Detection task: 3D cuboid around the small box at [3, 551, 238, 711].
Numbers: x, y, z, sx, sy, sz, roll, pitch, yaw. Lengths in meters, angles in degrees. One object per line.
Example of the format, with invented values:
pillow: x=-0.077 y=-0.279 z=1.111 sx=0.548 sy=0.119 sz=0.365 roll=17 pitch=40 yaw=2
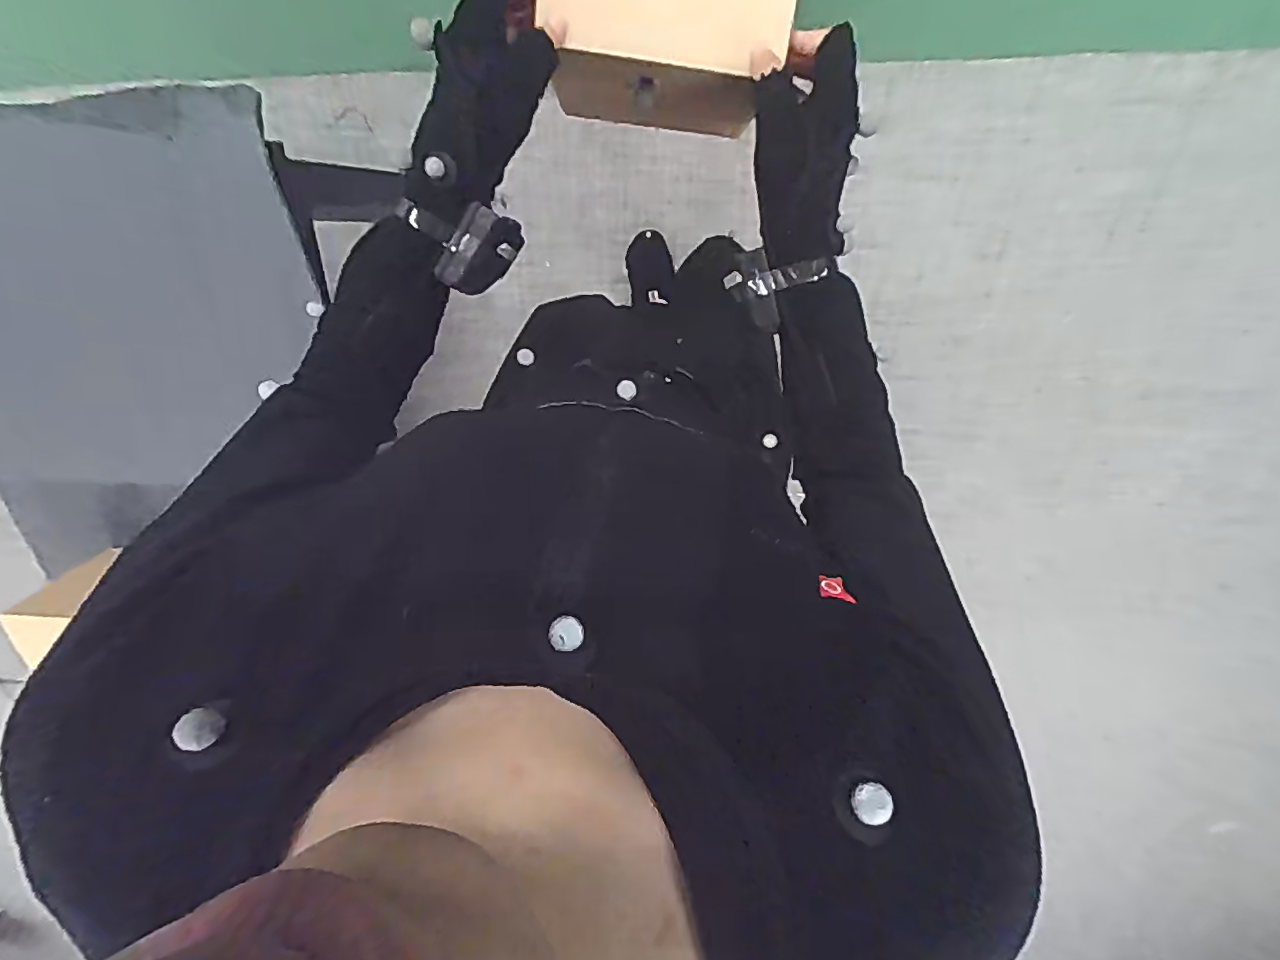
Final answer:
small box: x=-0.785 y=0.227 z=0.842 sx=0.168 sy=0.176 sz=0.179 roll=2 pitch=117 yaw=5
